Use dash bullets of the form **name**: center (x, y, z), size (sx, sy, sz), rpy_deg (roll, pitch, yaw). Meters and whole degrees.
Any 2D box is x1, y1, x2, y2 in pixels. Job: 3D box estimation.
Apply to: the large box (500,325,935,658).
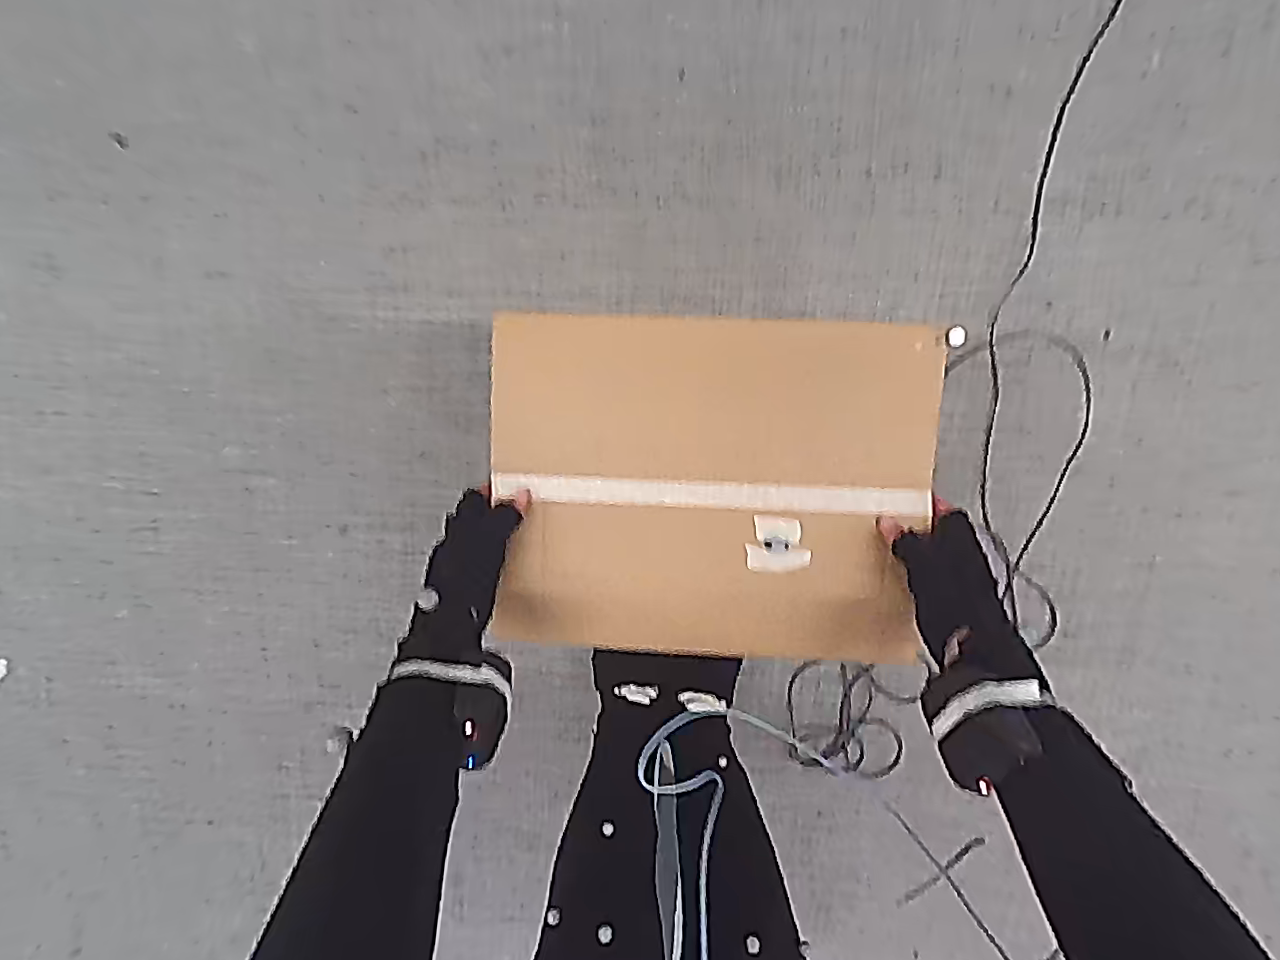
- **large box**: center (0.070, 0.000, 0.655), size (0.408, 0.320, 0.320), rpy_deg (2, 97, 3)
